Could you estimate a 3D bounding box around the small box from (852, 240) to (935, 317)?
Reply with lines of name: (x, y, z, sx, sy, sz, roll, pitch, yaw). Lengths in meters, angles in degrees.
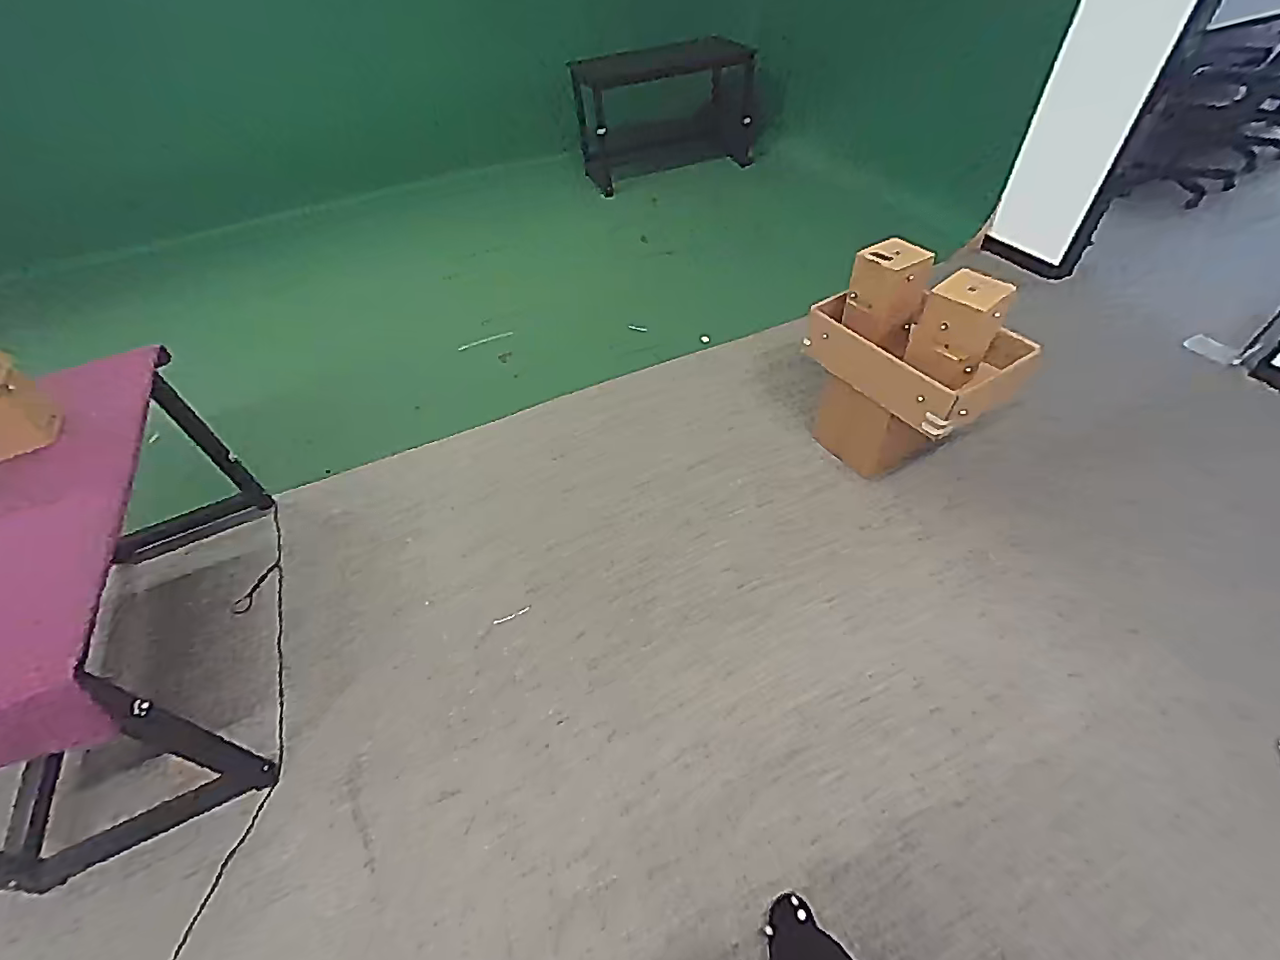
small box: (0.829, -0.663, 1.788, 0.179, 0.176, 0.168, -24, 50, -17)

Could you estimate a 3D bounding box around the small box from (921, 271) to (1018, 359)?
small box: (0.974, -0.491, 1.618, 0.179, 0.176, 0.168, -32, 54, -21)

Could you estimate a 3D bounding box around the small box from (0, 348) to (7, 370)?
small box: (-1.667, -0.292, 1.264, 0.179, 0.176, 0.168, -24, 51, -15)

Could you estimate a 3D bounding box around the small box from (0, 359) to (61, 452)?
small box: (-1.666, -0.179, 1.382, 0.179, 0.176, 0.168, -25, 52, -16)
